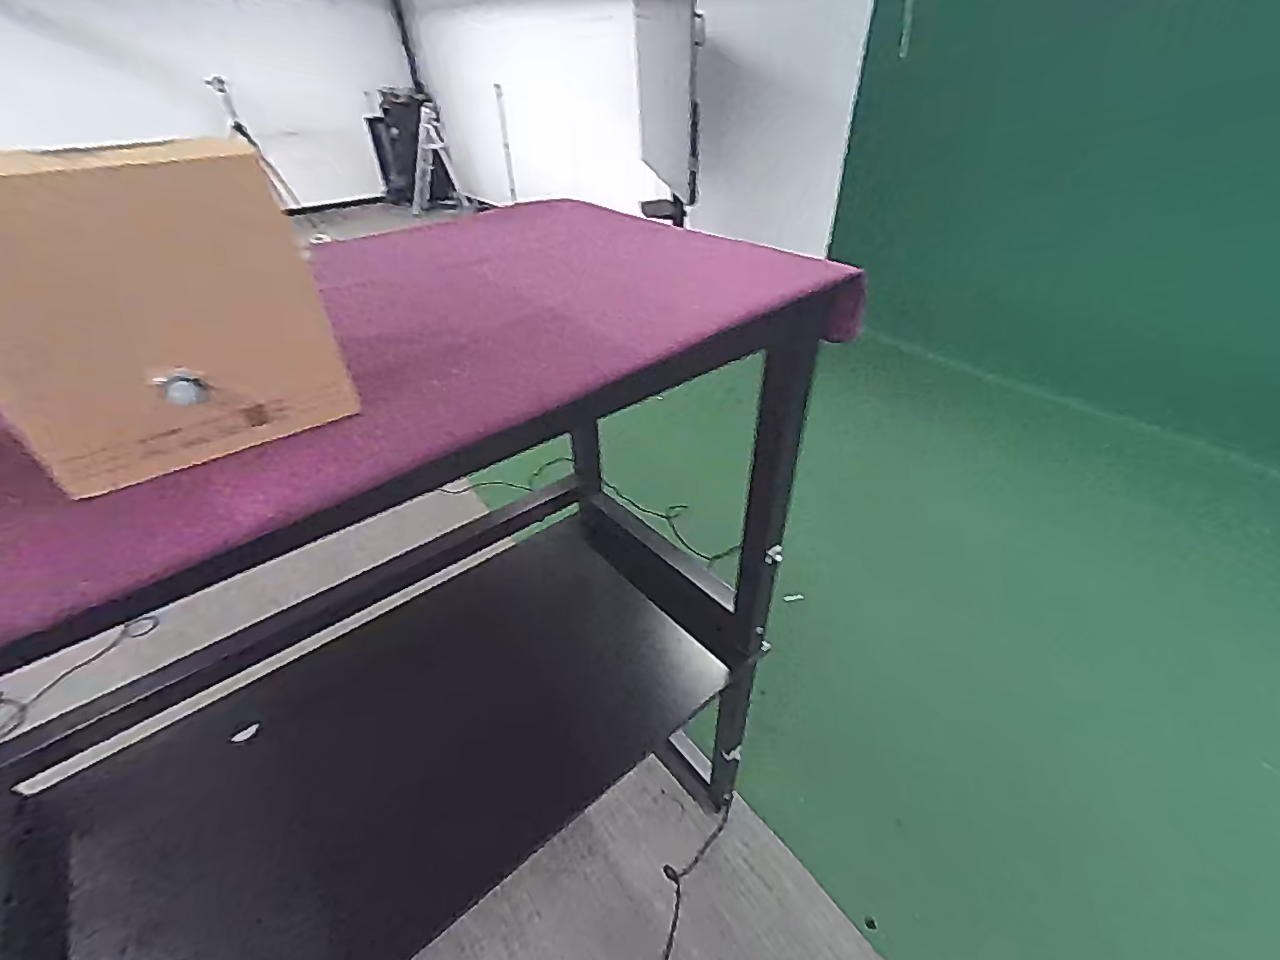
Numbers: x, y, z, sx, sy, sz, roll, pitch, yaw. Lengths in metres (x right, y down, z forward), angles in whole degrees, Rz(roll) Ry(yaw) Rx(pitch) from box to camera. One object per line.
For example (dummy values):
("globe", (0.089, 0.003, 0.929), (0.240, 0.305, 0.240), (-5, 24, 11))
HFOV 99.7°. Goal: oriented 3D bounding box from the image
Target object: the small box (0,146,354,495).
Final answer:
("small box", (-0.325, -0.118, 0.368), (0.168, 0.176, 0.179), (-26, 44, -28))
